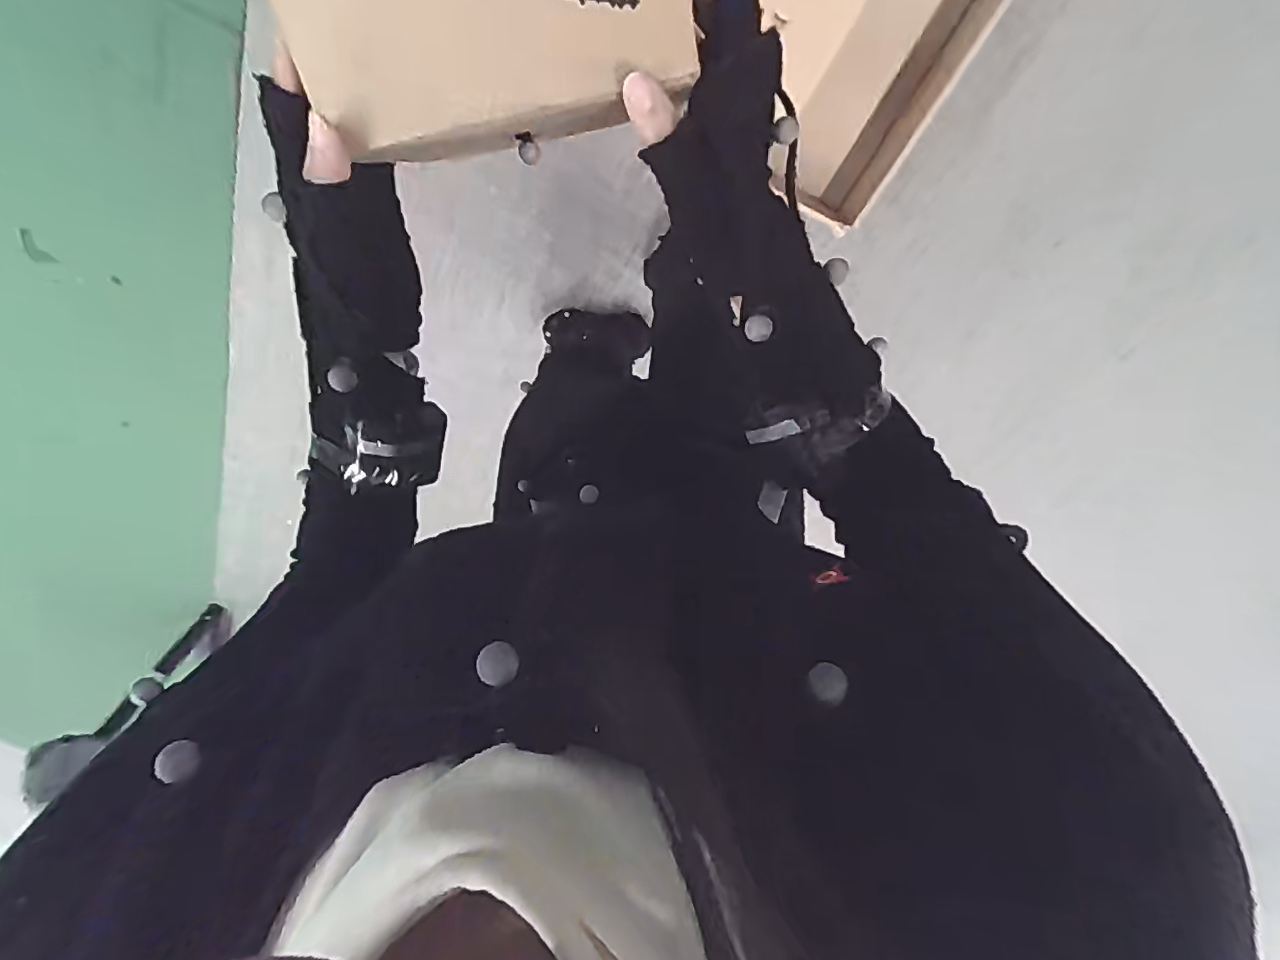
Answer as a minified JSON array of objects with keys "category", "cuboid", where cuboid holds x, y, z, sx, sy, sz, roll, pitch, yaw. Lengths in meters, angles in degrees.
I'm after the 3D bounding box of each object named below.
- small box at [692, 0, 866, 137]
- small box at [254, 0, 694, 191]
[{"category":"small box","cuboid":[0.175,-0.613,0.746,0.168,0.176,0.179,25,125,-12]},{"category":"small box","cuboid":[-0.079,-0.265,0.278,0.179,0.176,0.168,-12,120,8]}]
